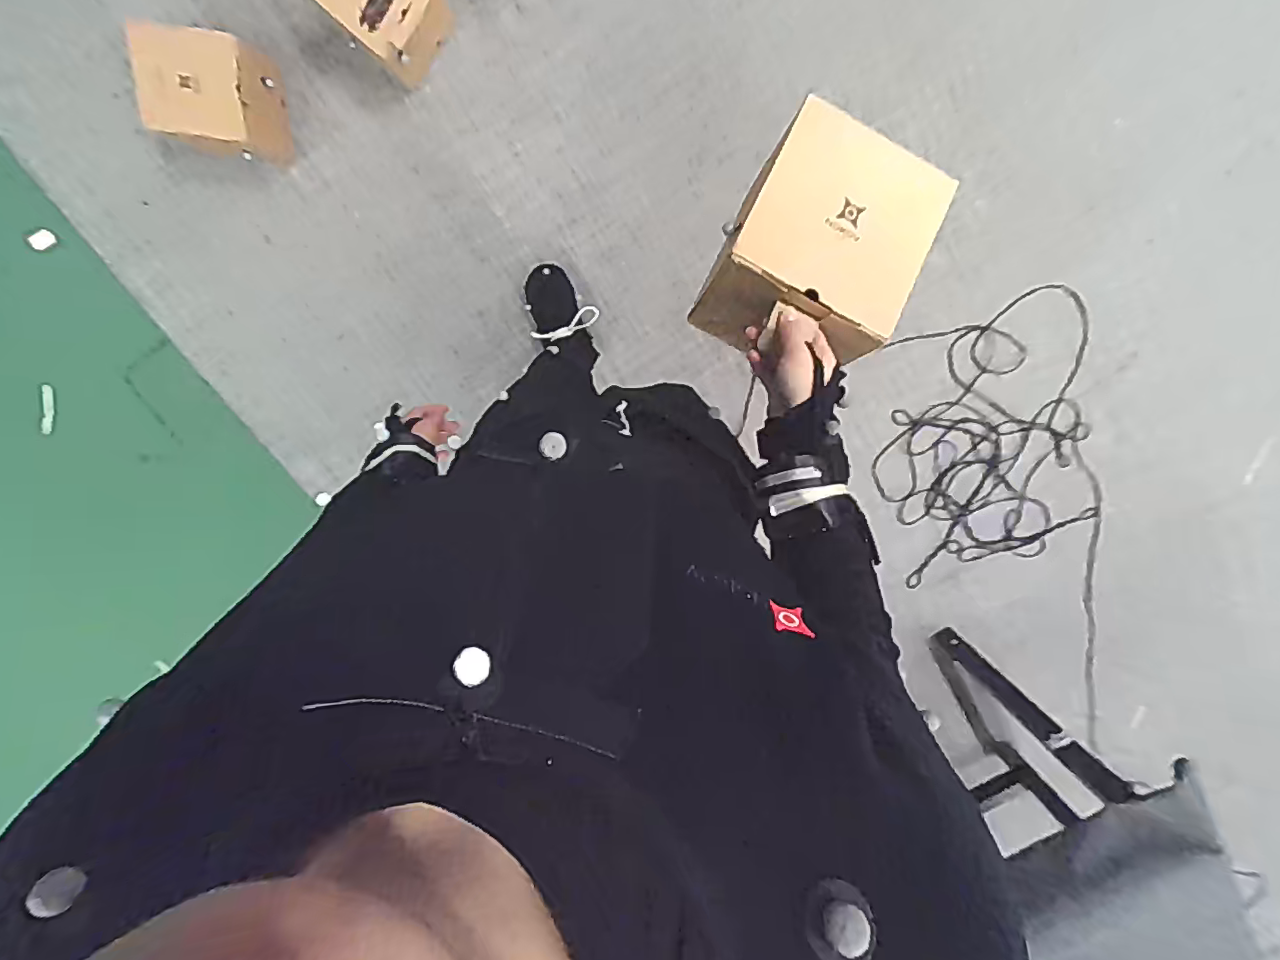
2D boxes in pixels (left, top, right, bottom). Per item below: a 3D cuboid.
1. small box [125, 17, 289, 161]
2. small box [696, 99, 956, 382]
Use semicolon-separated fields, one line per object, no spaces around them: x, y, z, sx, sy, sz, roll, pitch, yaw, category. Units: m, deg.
-0.787;-0.714;1.008;0.179;0.176;0.168;4;107;-5;small box
0.176;-0.228;0.565;0.168;0.176;0.179;26;83;-6;small box
